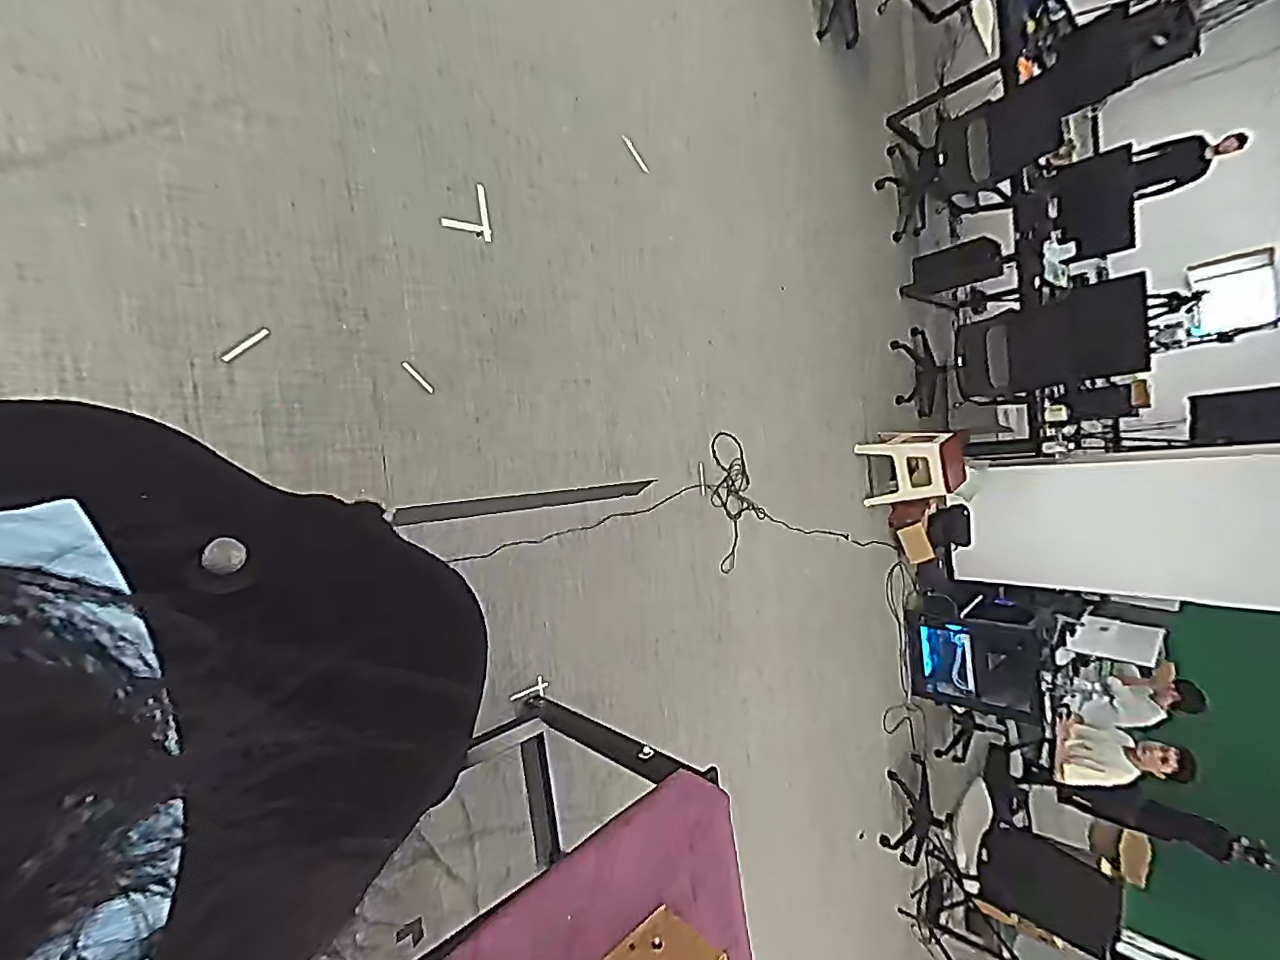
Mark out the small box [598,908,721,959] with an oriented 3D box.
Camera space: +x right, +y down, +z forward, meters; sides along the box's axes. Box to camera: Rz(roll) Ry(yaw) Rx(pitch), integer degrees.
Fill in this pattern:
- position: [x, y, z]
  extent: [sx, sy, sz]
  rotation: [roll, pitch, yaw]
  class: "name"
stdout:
- position: [0.040, 0.946, 0.981]
  extent: [0.168, 0.176, 0.179]
  rotation: [-11, 94, -41]
  class: "small box"
